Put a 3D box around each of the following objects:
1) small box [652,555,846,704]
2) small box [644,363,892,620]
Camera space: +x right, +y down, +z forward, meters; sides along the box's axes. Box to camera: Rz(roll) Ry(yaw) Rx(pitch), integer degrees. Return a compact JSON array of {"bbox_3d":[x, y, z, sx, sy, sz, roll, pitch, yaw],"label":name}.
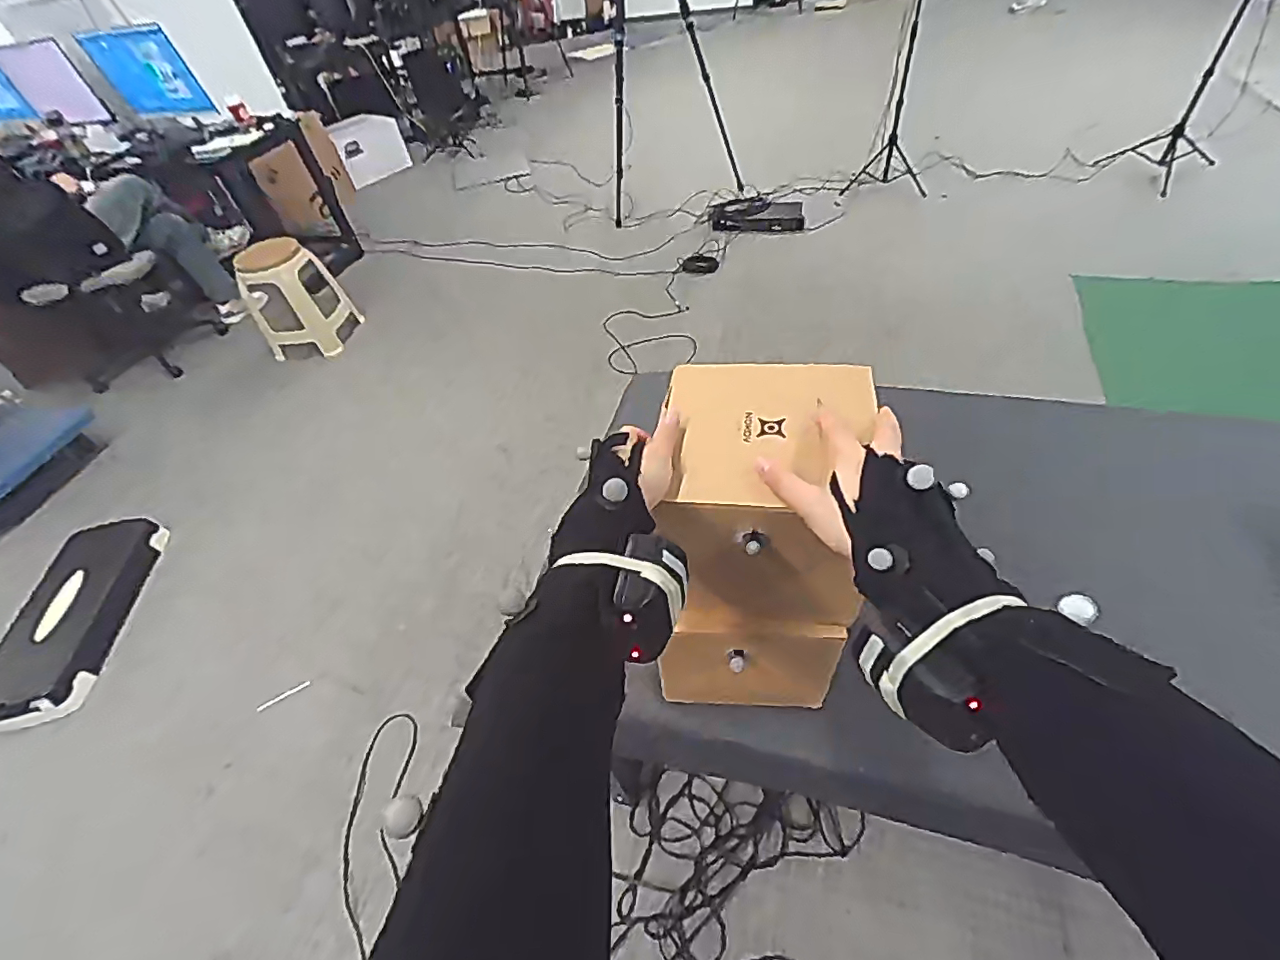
[{"bbox_3d":[0.114,0.135,0.598,0.179,0.176,0.168,-1,48,9],"label":"small box"},{"bbox_3d":[0.111,0.012,0.492,0.179,0.176,0.168,3,50,11],"label":"small box"}]
